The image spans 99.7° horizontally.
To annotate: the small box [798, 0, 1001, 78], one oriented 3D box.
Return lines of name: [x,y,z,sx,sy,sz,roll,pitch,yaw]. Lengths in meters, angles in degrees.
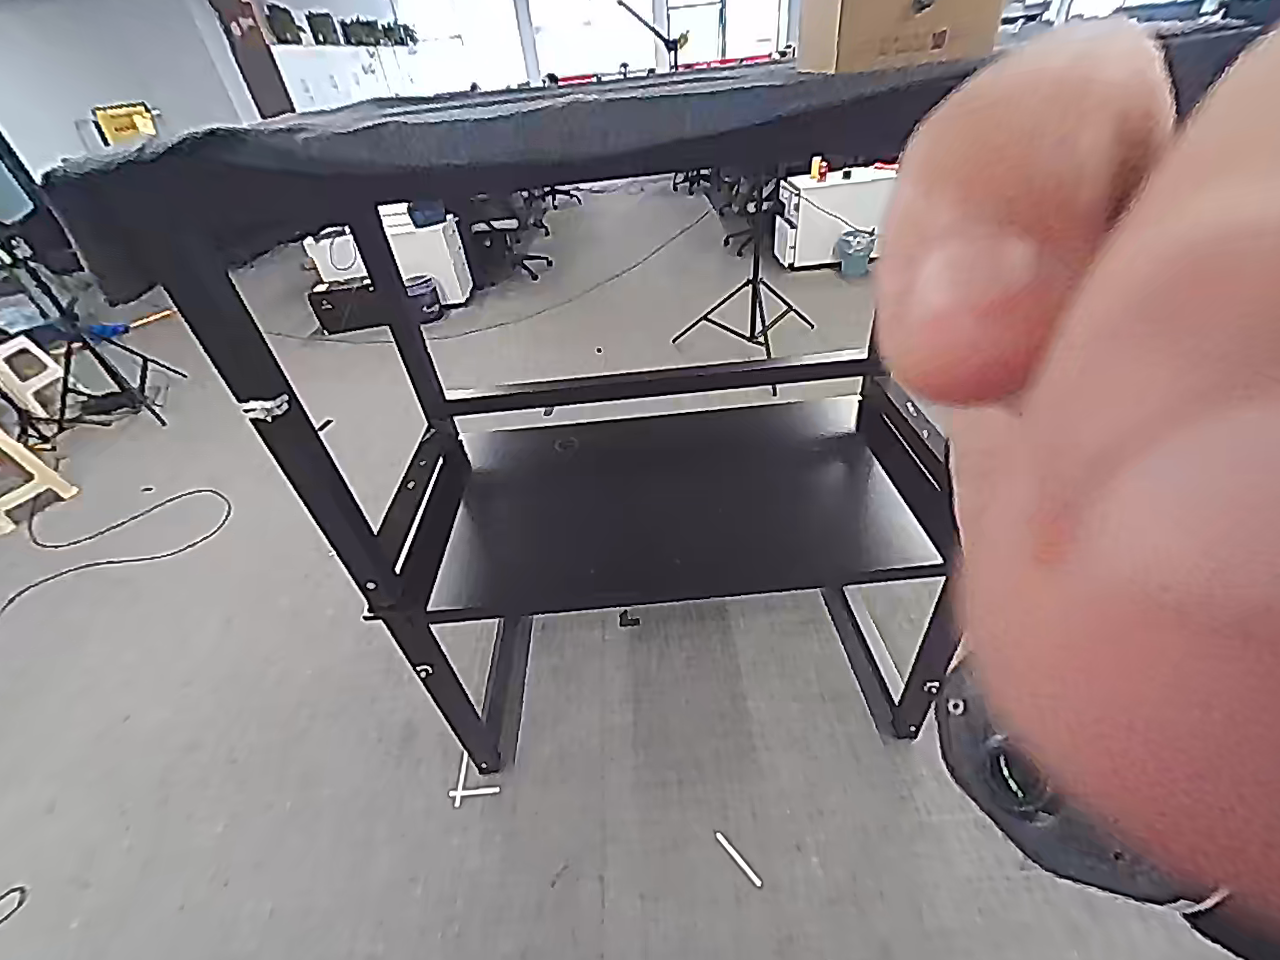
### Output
small box: [0.277,-0.550,0.589,0.168,0.176,0.179,-6,38,3]
